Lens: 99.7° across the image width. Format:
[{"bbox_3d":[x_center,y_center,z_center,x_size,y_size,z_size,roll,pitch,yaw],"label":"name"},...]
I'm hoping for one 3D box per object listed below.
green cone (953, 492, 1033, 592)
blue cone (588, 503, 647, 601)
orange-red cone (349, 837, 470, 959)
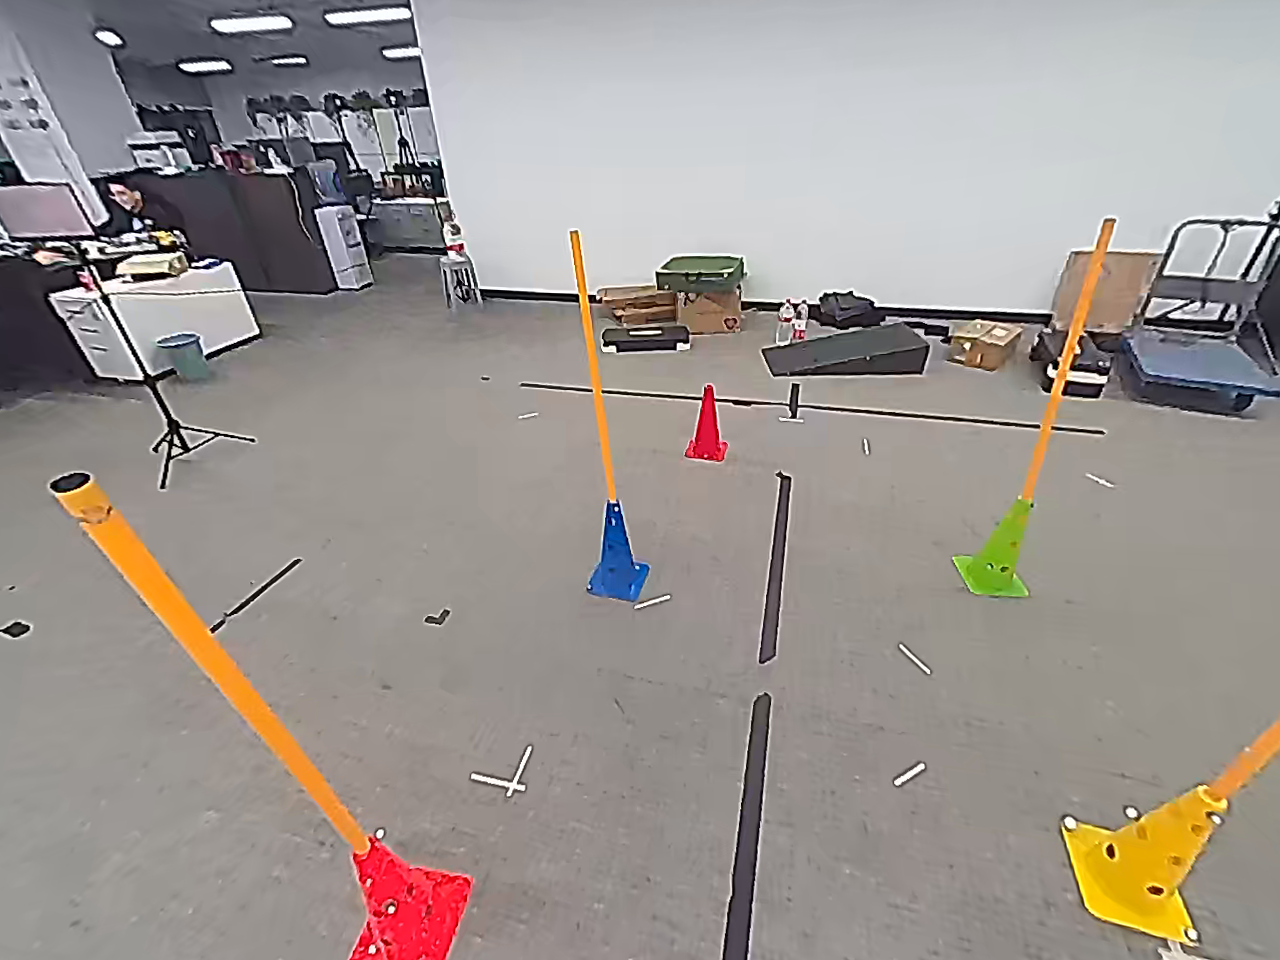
[{"bbox_3d":[1.276,0.196,1.888,0.200,0.368,0.202,1,35,5],"label":"green cone"},{"bbox_3d":[-0.087,0.235,1.928,0.193,0.380,0.192,8,35,16],"label":"blue cone"},{"bbox_3d":[-0.489,0.800,1.060,0.199,0.360,0.198,5,34,9],"label":"orange-red cone"}]
